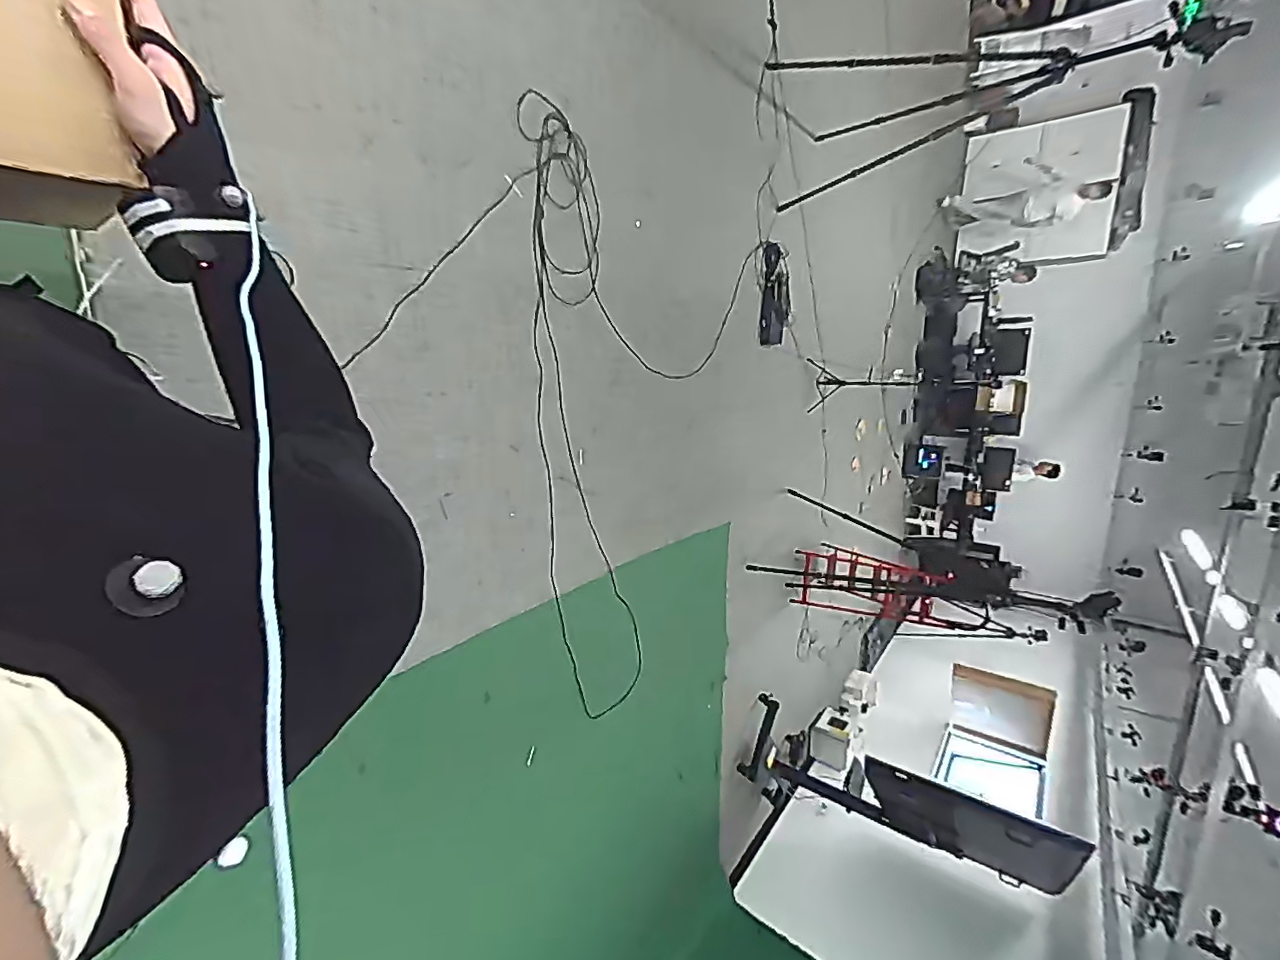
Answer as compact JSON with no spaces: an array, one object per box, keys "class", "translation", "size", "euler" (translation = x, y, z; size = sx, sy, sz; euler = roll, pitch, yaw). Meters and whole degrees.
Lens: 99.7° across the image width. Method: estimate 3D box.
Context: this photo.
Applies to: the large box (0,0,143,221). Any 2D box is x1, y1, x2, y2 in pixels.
[{"class":"large box","translation":[-0.653,-0.384,0.356],"size":[0.408,0.320,0.320],"euler":[-16,113,-48]}]
